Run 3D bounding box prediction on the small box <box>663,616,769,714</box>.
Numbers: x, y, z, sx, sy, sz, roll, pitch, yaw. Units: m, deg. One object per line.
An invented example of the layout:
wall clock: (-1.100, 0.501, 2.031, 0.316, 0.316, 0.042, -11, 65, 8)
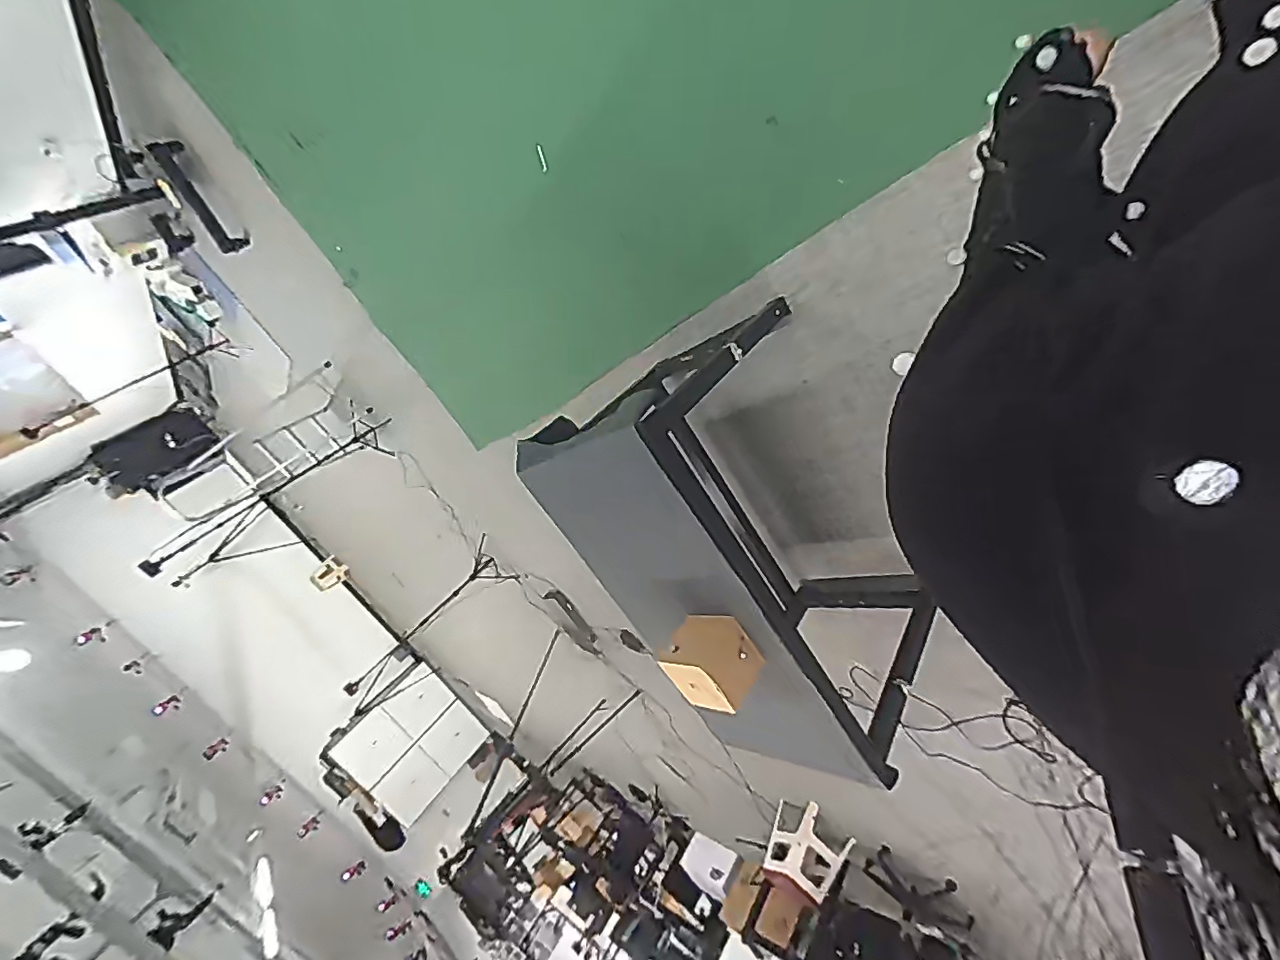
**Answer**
small box: (0.201, 0.471, 1.405, 0.179, 0.176, 0.168, -18, 113, 52)
